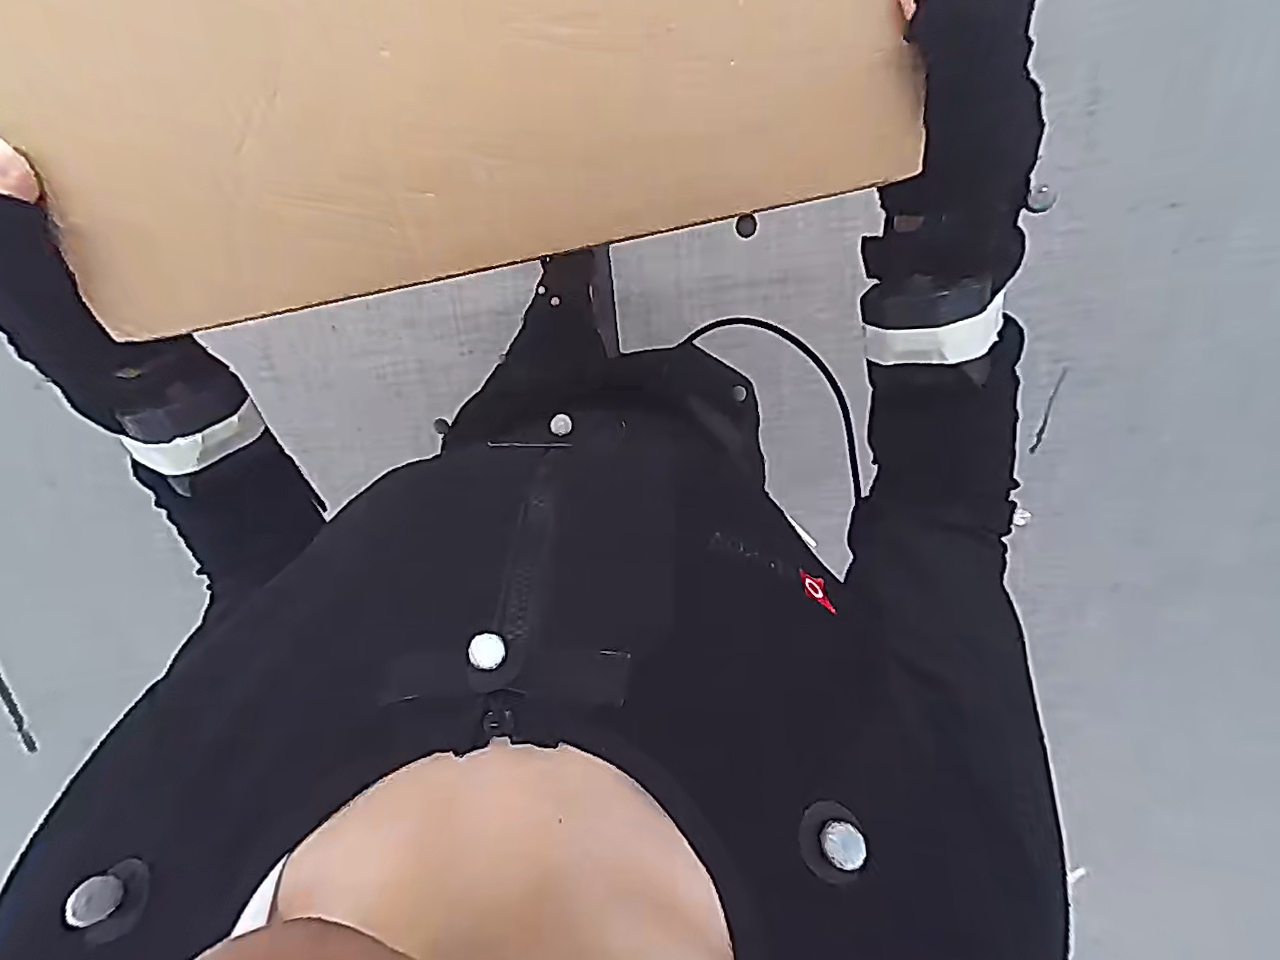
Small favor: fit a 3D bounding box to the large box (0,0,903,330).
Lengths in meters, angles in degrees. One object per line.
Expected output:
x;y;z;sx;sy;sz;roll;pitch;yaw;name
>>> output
-0.103;-0.319;0.328;0.408;0.320;0.320;-10;118;5;large box
